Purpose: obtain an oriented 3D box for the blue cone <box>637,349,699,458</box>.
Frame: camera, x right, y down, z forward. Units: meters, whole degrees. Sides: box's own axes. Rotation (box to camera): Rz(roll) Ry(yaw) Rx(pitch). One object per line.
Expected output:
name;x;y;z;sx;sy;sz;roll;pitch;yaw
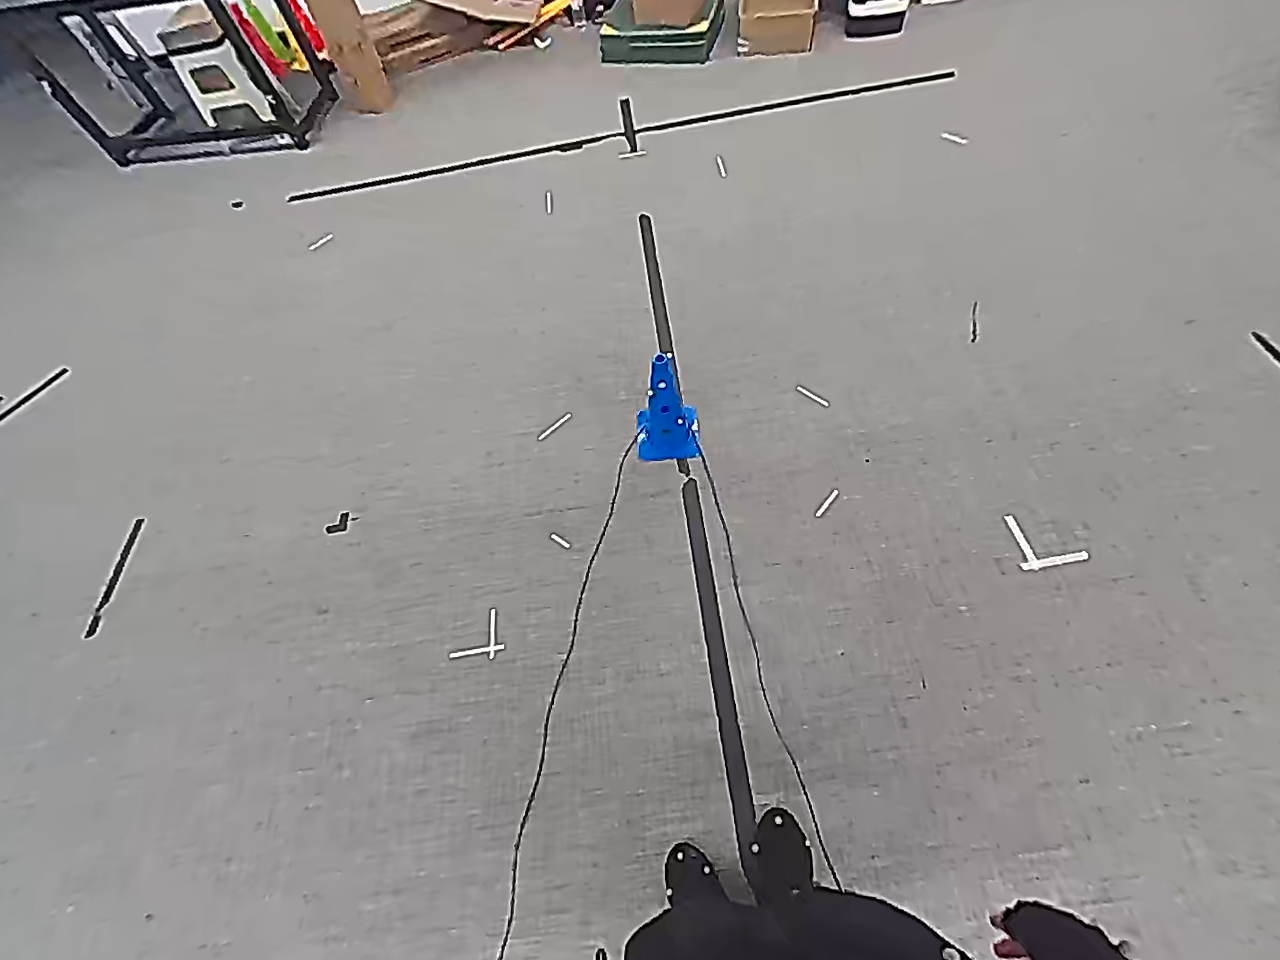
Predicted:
blue cone;0.070;-0.236;1.594;0.193;0.380;0.192;-7;60;4
